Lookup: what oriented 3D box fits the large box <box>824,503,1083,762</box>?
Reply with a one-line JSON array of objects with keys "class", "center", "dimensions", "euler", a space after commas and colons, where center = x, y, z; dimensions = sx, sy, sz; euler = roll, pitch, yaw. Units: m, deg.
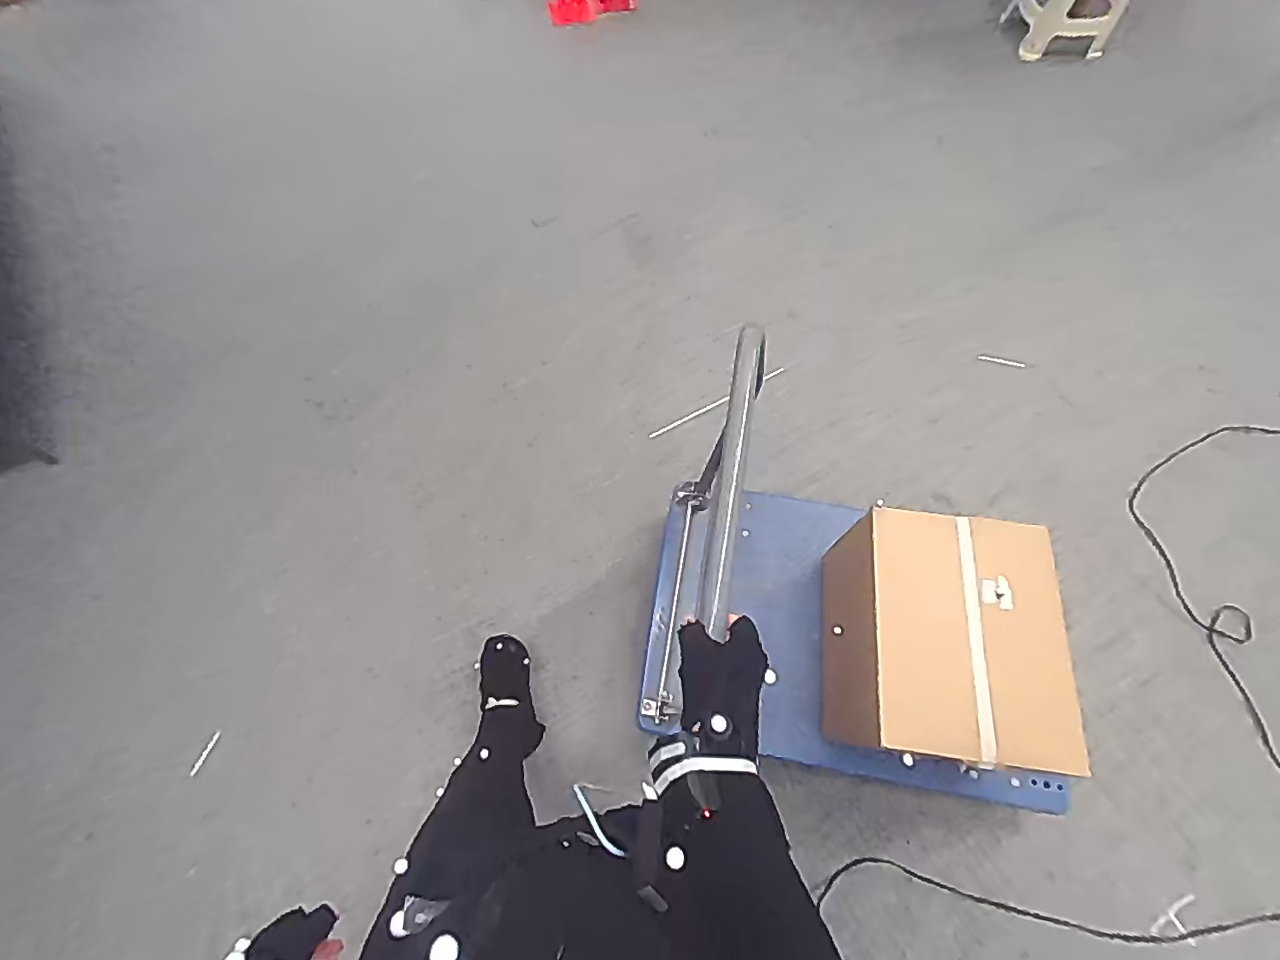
[{"class": "large box", "center": [0.553, 0.301, 1.048], "dimensions": [0.320, 0.320, 0.408], "euler": [8, 65, 4]}]
